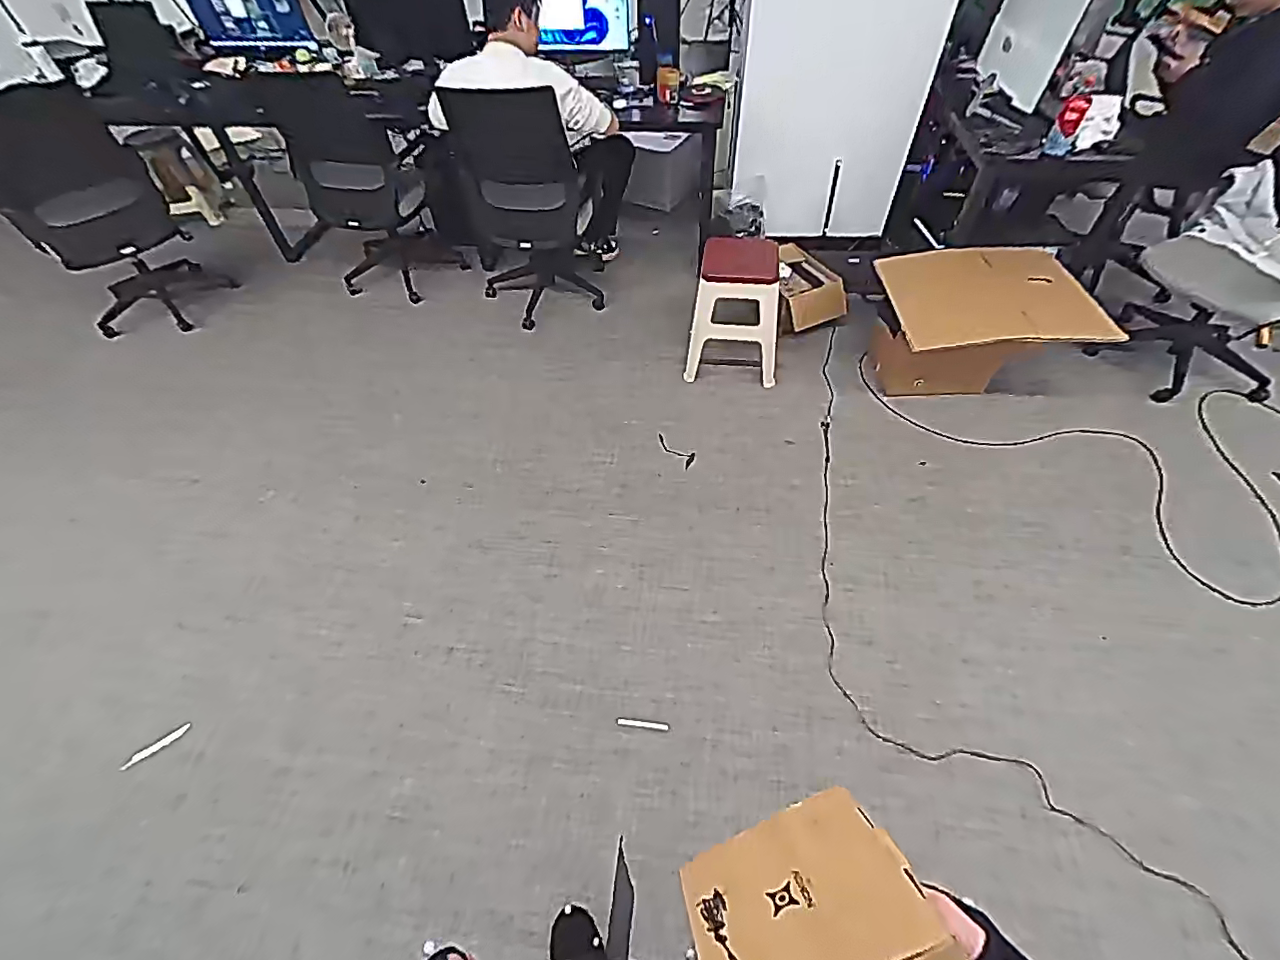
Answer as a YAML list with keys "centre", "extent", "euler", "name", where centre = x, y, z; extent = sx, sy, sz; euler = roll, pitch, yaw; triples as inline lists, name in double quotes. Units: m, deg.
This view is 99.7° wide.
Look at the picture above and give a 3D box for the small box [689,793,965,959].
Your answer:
- centre: [0.162, 0.416, 0.449]
  extent: [0.179, 0.168, 0.176]
  euler: [-24, 93, -3]
  name: "small box"
